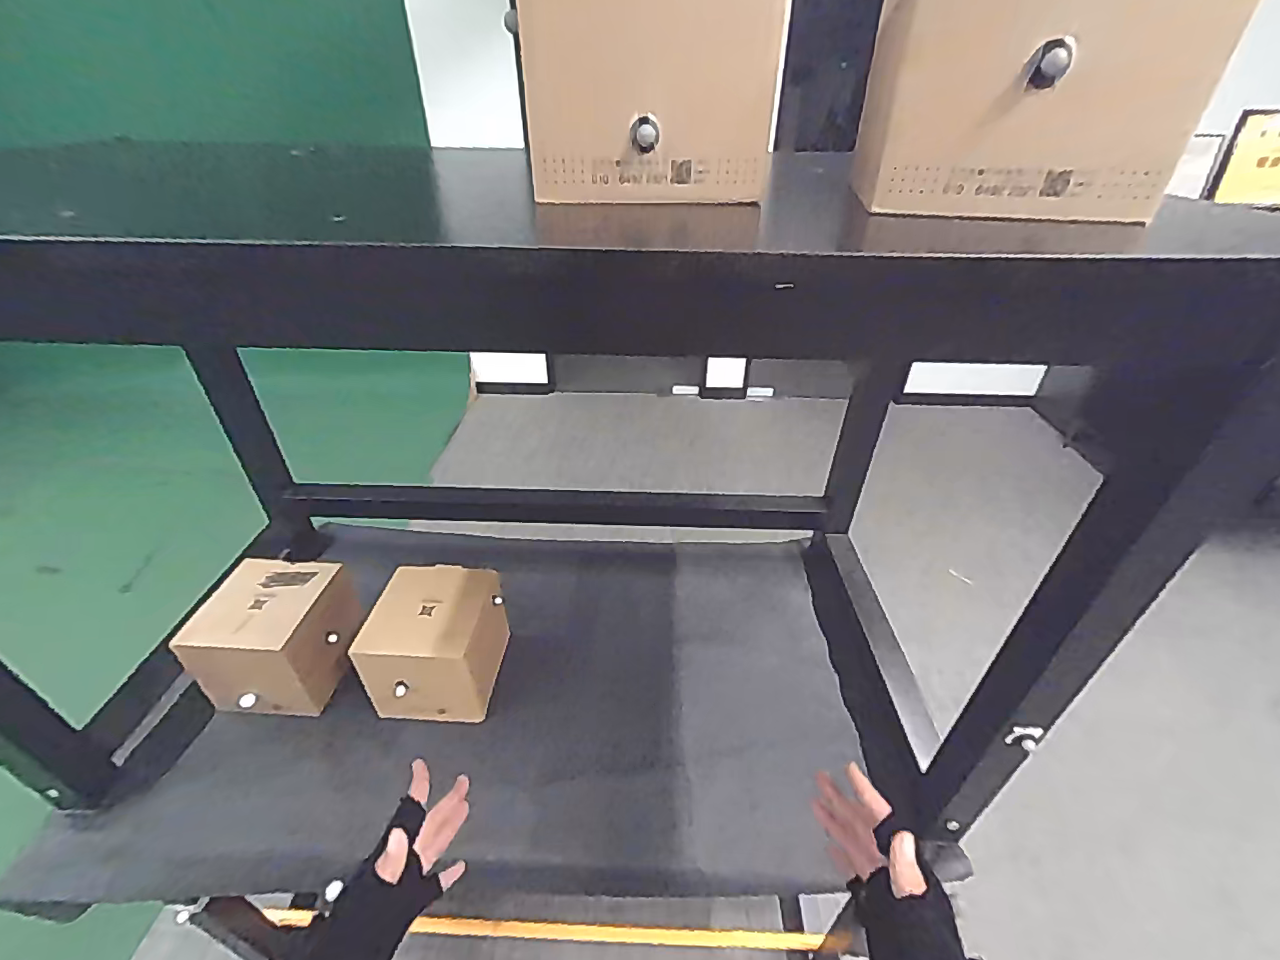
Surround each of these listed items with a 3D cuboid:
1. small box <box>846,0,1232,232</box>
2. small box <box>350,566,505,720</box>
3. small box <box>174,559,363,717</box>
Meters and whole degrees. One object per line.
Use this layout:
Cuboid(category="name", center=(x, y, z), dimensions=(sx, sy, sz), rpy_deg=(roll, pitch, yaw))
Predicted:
Cuboid(category="small box", center=(0.249, -0.277, 0.372), dimensions=(0.168, 0.176, 0.179), rpy_deg=(8, 36, 10))
Cuboid(category="small box", center=(-0.323, 0.261, 0.868), dimensions=(0.168, 0.176, 0.179), rpy_deg=(2, 35, 2))
Cuboid(category="small box", center=(-0.576, 0.251, 0.873), dimensions=(0.168, 0.176, 0.179), rpy_deg=(2, 36, 2))
